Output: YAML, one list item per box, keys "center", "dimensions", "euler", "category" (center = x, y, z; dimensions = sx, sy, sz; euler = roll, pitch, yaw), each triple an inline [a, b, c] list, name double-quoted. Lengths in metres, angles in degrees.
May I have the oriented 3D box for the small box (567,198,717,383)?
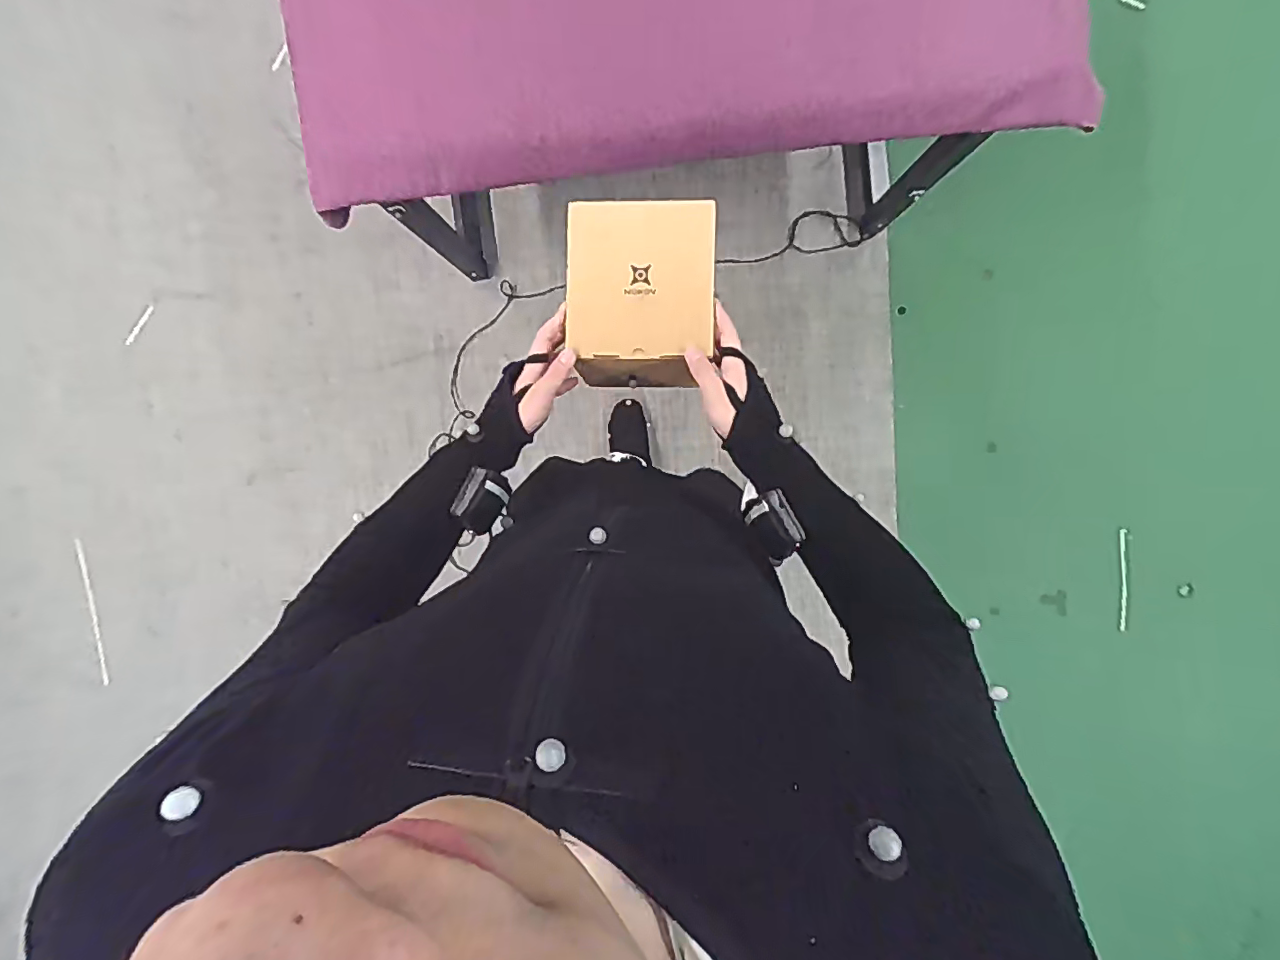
- center: [0.005, -0.223, 0.674]
  dimensions: [0.168, 0.176, 0.179]
  euler: [0, 92, 3]
  category: "small box"
